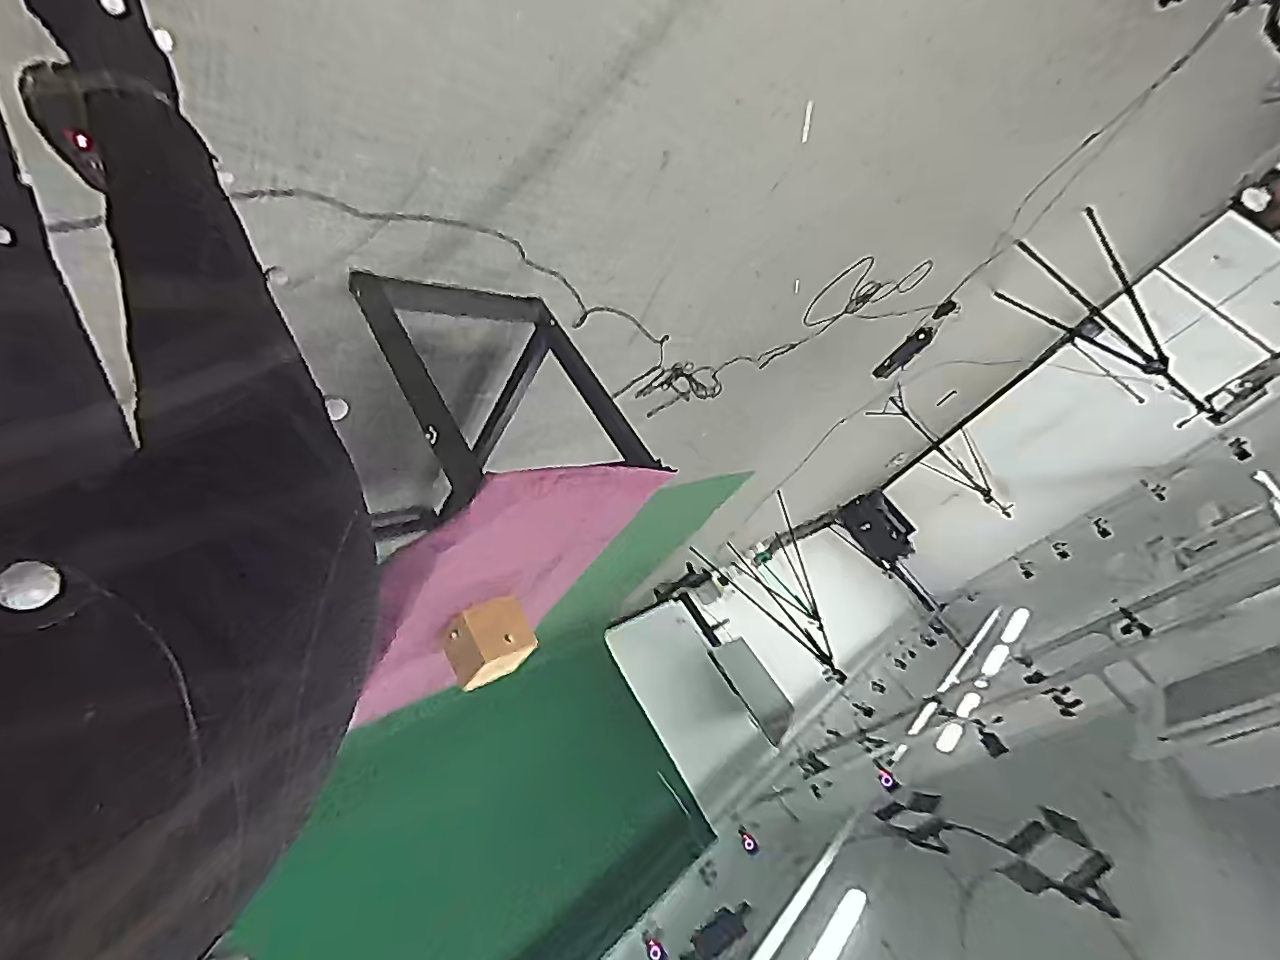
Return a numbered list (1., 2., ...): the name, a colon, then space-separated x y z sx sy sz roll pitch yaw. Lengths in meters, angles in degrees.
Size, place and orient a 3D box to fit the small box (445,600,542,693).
1. small box: -0.414 0.460 1.518 0.179 0.176 0.168 -6 144 -50
